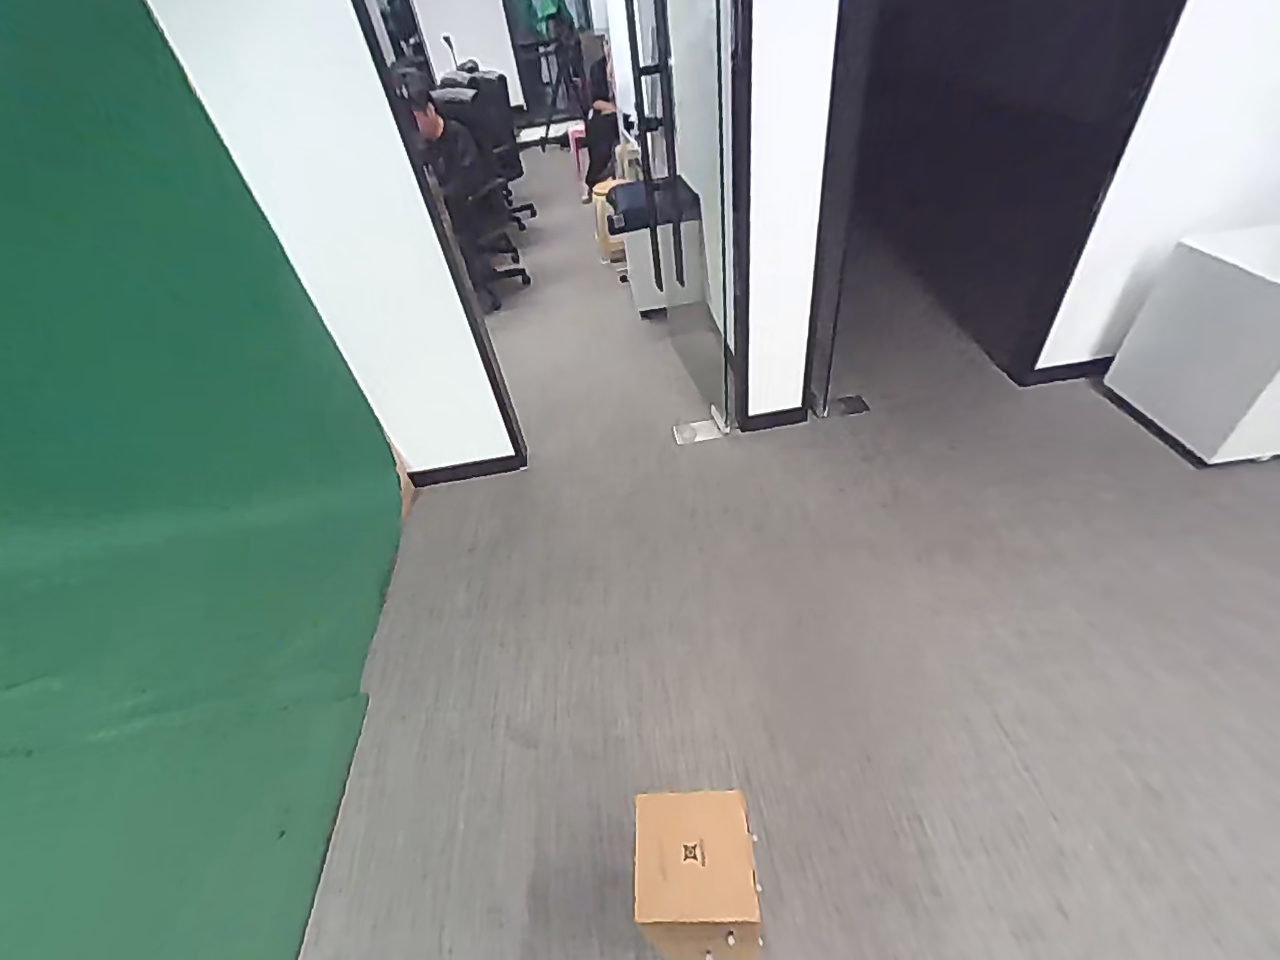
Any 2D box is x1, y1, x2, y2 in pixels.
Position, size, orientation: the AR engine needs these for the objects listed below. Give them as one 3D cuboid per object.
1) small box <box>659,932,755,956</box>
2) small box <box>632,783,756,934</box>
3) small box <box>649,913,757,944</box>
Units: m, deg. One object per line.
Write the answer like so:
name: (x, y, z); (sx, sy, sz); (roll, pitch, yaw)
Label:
small box: (0.131, 0.838, 1.088); (0.179, 0.176, 0.168); (-7, 42, 6)
small box: (0.086, 0.605, 0.865); (0.179, 0.176, 0.168); (-7, 42, 6)
small box: (0.109, 0.723, 0.978); (0.179, 0.176, 0.168); (-8, 44, 4)
